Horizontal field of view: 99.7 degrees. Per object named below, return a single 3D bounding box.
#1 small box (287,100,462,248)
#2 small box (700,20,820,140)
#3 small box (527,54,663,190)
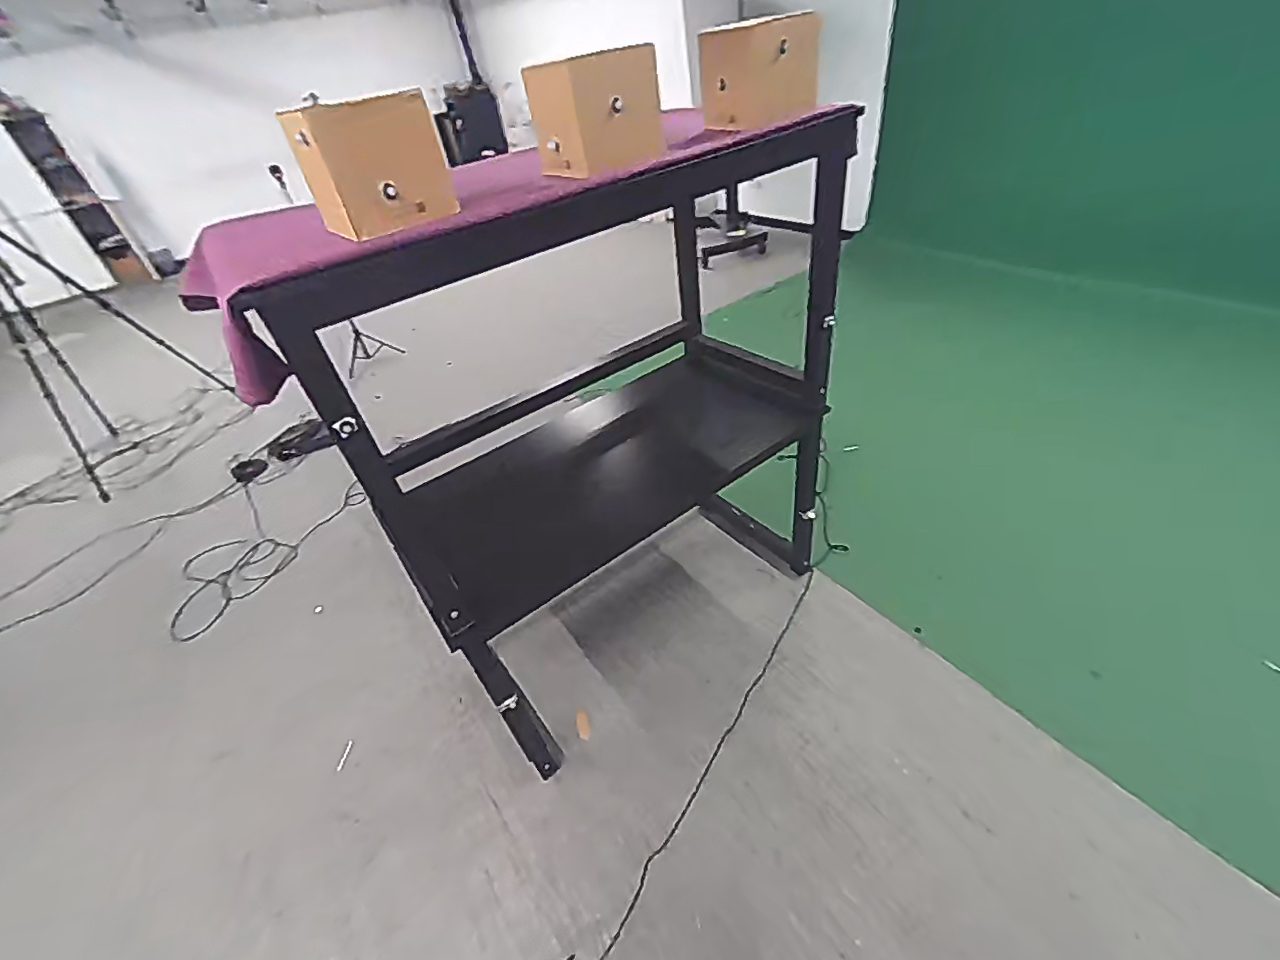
[{"bbox_3d":[-0.405,-0.471,0.838,0.168,0.176,0.179,-32,43,-26],"label":"small box"},{"bbox_3d":[0.246,-0.812,1.109,0.179,0.176,0.168,-27,42,-18],"label":"small box"},{"bbox_3d":[-0.073,-0.638,0.967,0.179,0.176,0.168,-30,41,-22],"label":"small box"}]
